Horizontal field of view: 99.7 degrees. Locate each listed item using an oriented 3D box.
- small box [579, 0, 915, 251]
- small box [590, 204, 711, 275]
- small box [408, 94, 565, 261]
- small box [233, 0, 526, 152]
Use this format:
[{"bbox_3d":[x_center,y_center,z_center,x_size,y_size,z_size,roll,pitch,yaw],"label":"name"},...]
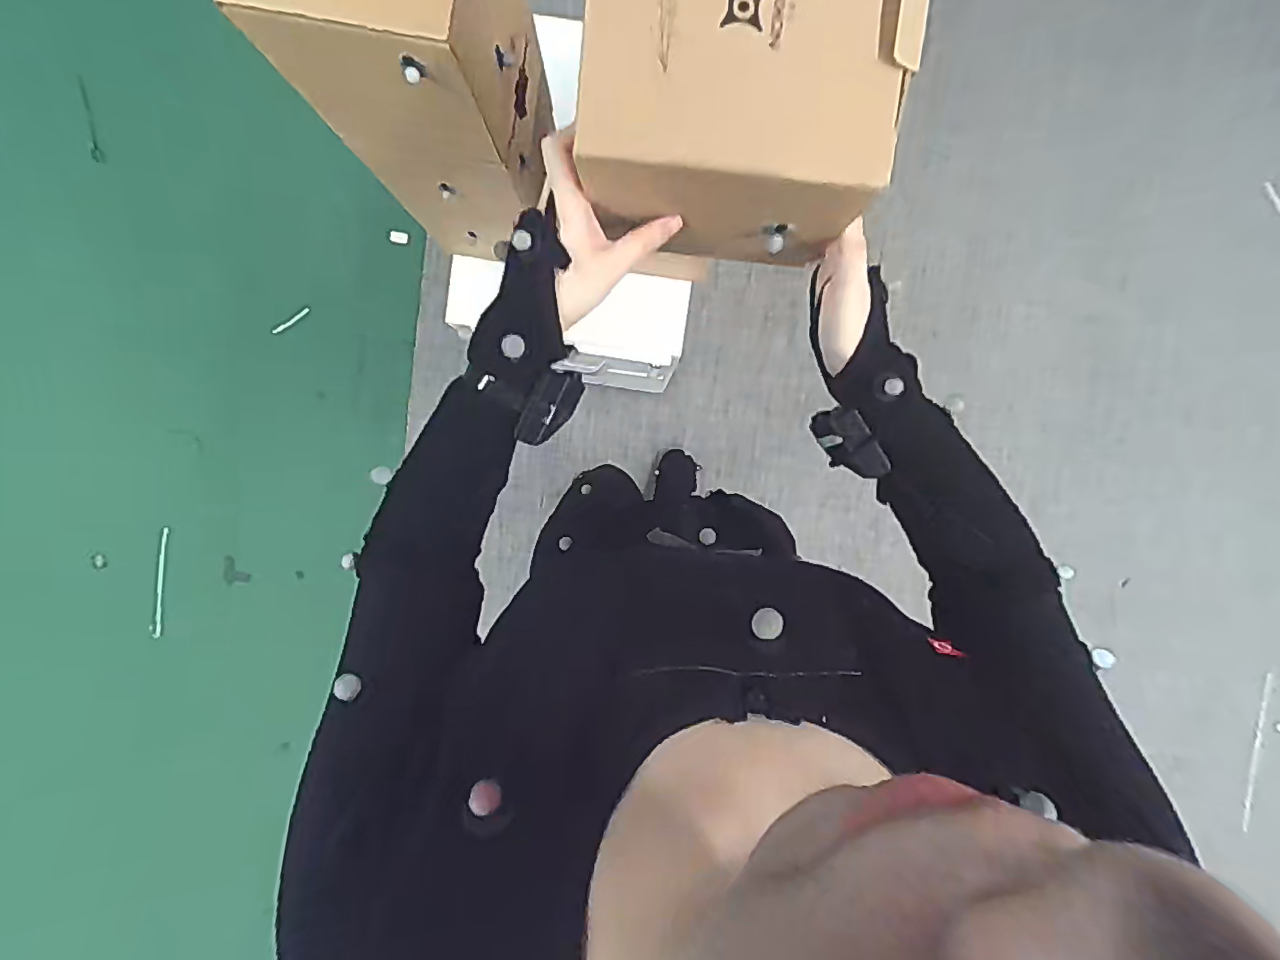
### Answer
[{"bbox_3d":[0.061,-0.267,0.368,0.179,0.176,0.168,6,97,0],"label":"small box"},{"bbox_3d":[0.030,-0.420,0.804,0.179,0.176,0.168,8,94,-1],"label":"small box"},{"bbox_3d":[-0.216,-0.442,0.801,0.179,0.176,0.168,9,94,-3],"label":"small box"},{"bbox_3d":[-0.210,-0.422,0.474,0.179,0.176,0.168,8,93,-3],"label":"small box"}]
